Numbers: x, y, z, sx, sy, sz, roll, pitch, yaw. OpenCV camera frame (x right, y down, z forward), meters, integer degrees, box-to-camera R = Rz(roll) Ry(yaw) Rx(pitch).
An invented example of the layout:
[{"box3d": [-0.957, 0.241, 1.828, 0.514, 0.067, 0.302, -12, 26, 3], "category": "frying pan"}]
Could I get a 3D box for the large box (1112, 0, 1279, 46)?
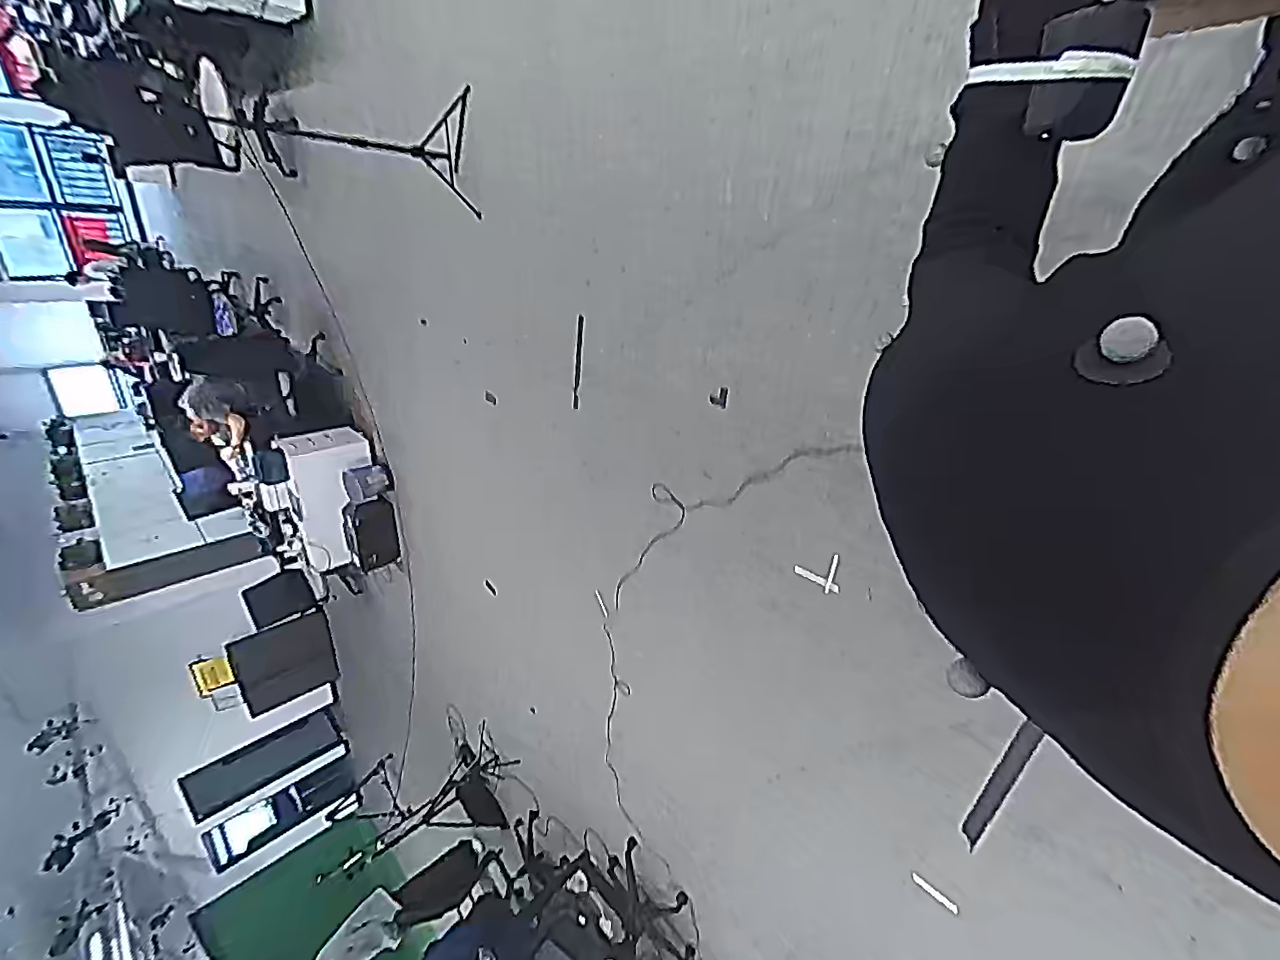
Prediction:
[{"box3d": [0.510, -0.441, 0.233, 0.408, 0.320, 0.320, 17, 128, 38], "category": "large box"}]
